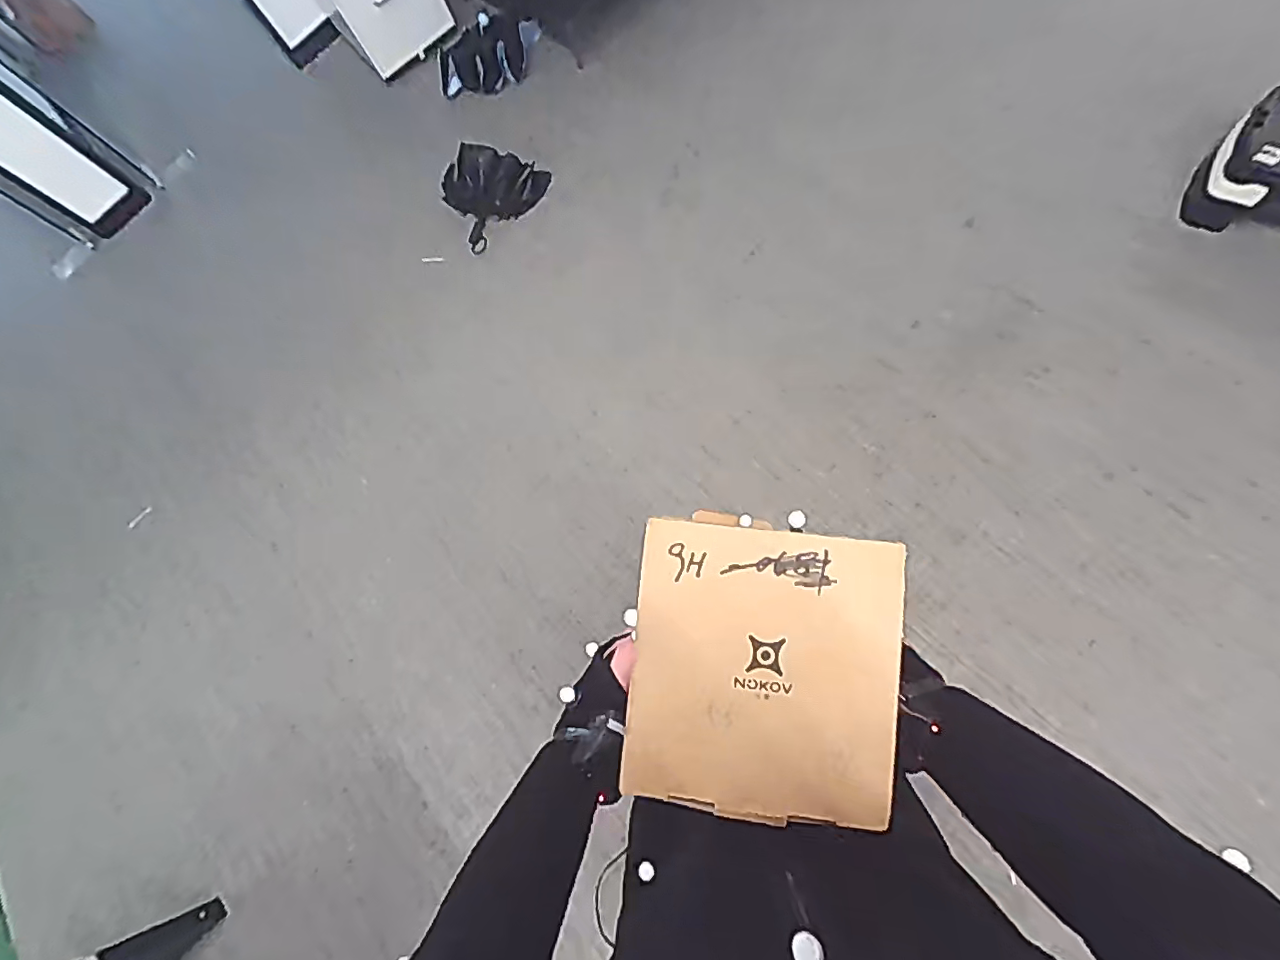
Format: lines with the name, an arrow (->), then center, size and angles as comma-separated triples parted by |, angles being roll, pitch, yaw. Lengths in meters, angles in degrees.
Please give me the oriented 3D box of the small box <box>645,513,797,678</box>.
small box -> 0.104, 0.145, 0.732 | 0.168, 0.176, 0.179 | 8, 85, 6
